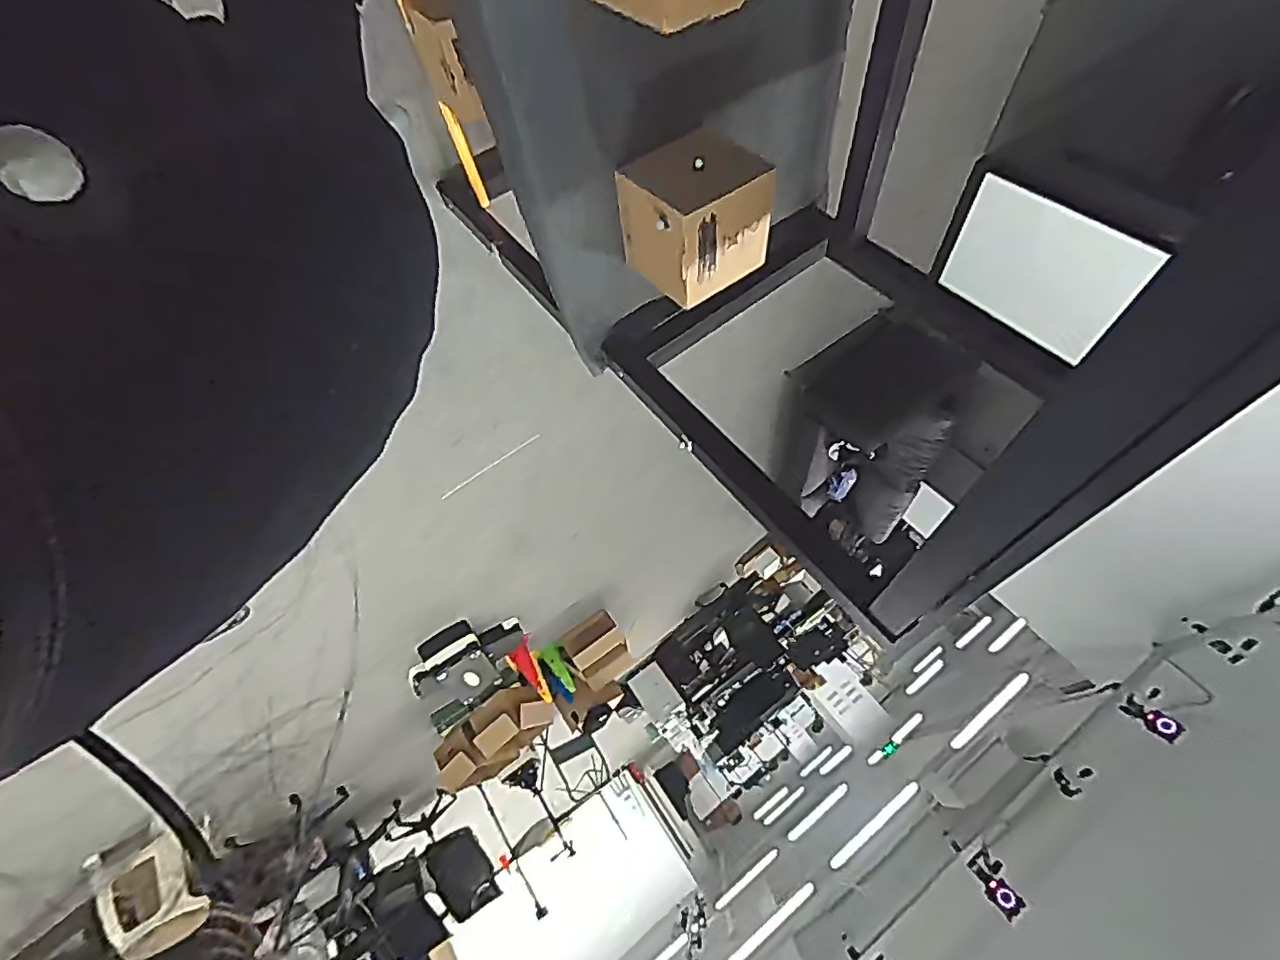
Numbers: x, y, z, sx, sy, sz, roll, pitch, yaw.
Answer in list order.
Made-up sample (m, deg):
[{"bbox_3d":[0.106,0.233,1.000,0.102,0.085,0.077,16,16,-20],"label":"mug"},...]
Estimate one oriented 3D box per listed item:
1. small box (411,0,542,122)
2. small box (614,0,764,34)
[{"bbox_3d":[-0.323,-0.843,1.057,0.179,0.176,0.168,-33,152,-15],"label":"small box"},{"bbox_3d":[0.045,-0.591,0.534,0.168,0.176,0.179,-33,151,-15],"label":"small box"}]
